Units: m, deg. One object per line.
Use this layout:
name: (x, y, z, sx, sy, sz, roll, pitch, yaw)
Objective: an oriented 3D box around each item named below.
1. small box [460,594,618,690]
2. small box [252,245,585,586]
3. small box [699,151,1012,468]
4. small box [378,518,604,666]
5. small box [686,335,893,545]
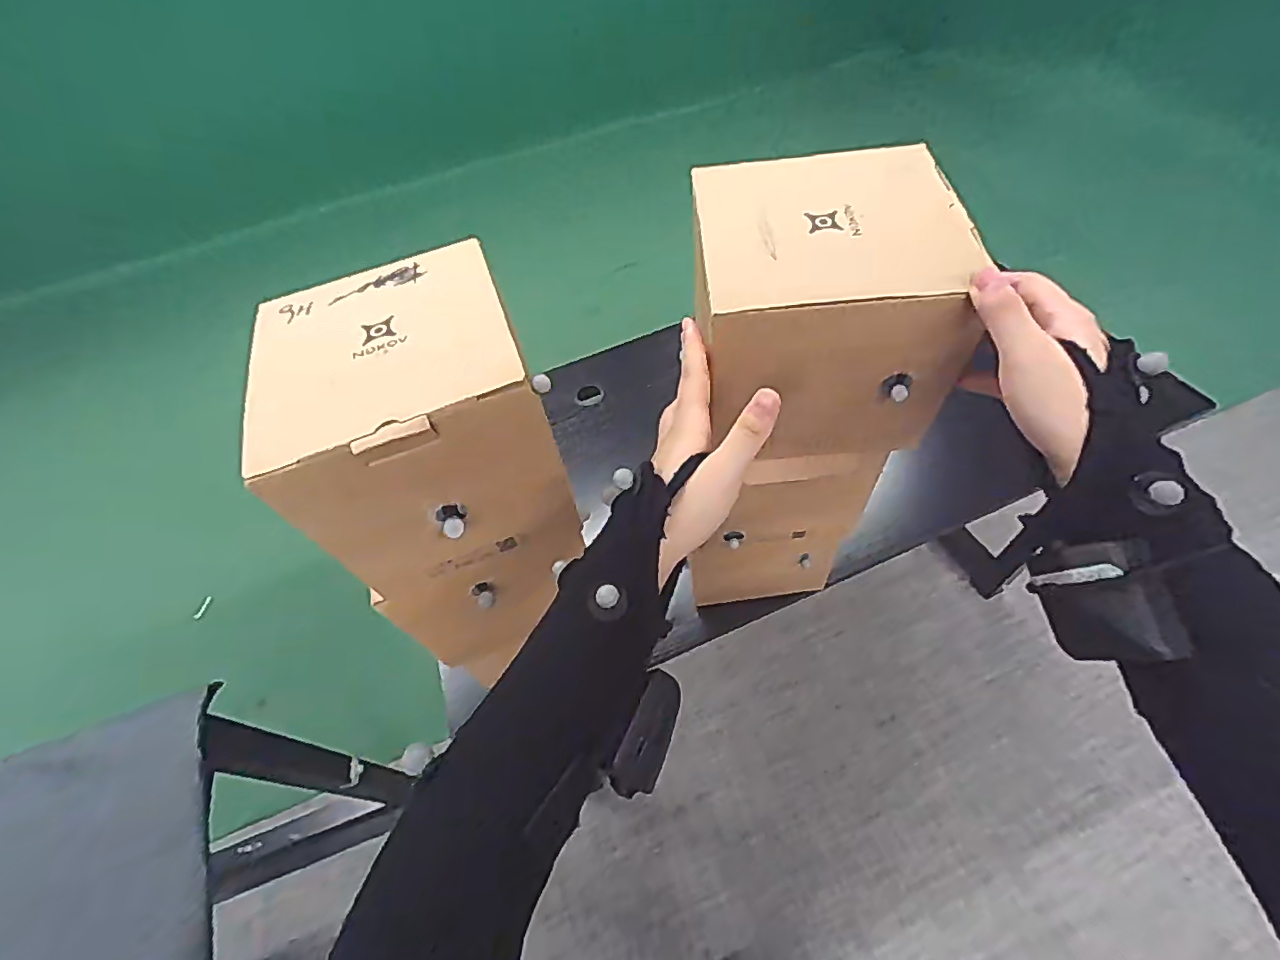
small box: (-0.136, 0.146, 0.684, 0.168, 0.176, 0.179, -21, 54, -8)
small box: (-0.153, -0.039, 0.414, 0.168, 0.176, 0.179, -21, 55, -6)
small box: (0.140, -0.125, 0.432, 0.179, 0.176, 0.168, -5, 56, 5)
small box: (-0.144, 0.060, 0.545, 0.179, 0.176, 0.168, -22, 54, -7)
small box: (0.142, -0.041, 0.573, 0.168, 0.176, 0.179, -6, 55, 3)
